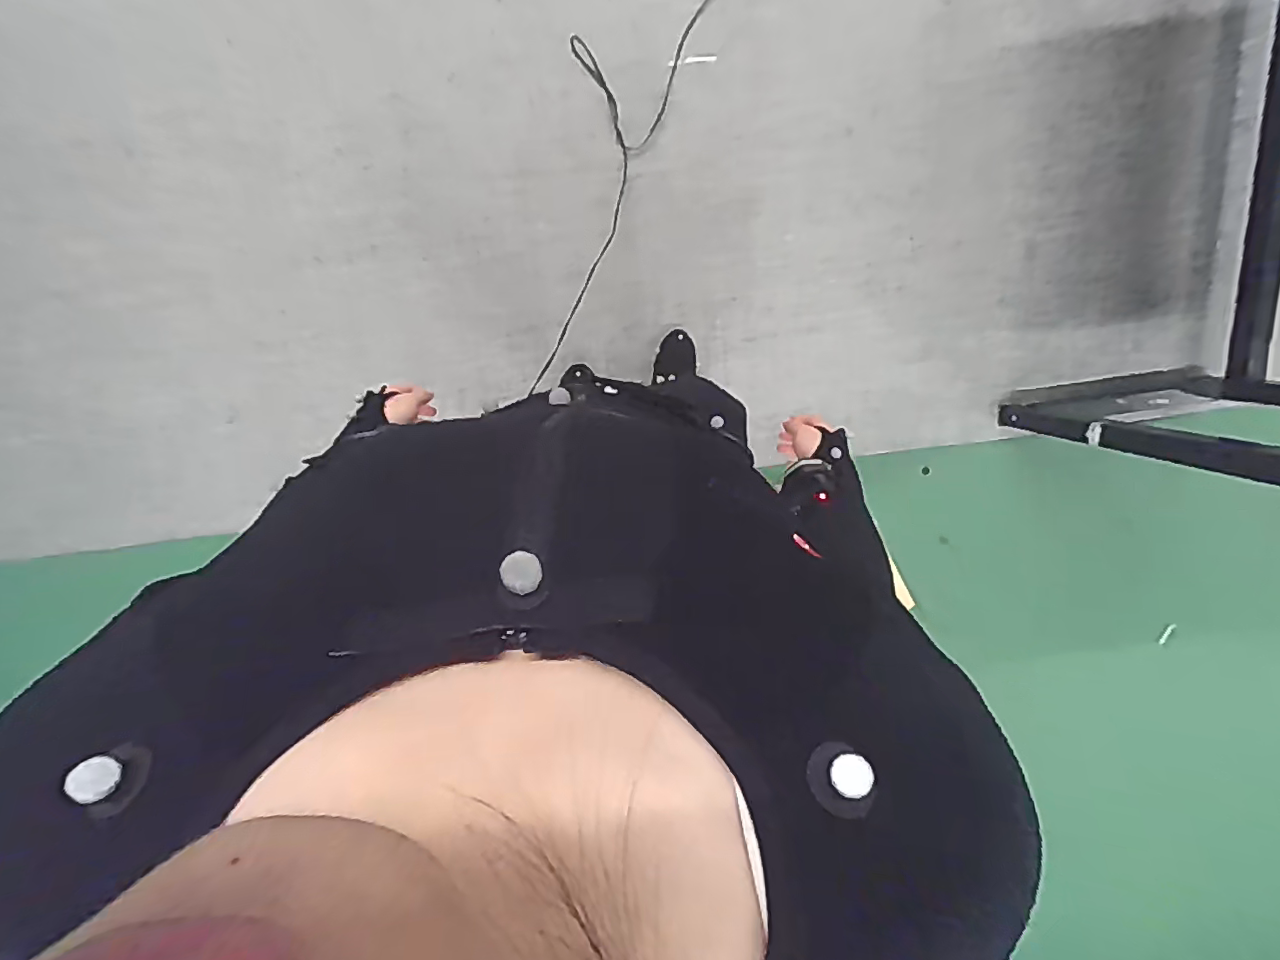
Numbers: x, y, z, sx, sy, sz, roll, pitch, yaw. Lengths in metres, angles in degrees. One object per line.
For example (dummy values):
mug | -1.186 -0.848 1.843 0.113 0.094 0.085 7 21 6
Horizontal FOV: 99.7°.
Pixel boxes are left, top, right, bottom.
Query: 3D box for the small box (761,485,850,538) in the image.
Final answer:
small box | 0.438 0.123 1.461 0.168 0.176 0.179 9 104 -2
